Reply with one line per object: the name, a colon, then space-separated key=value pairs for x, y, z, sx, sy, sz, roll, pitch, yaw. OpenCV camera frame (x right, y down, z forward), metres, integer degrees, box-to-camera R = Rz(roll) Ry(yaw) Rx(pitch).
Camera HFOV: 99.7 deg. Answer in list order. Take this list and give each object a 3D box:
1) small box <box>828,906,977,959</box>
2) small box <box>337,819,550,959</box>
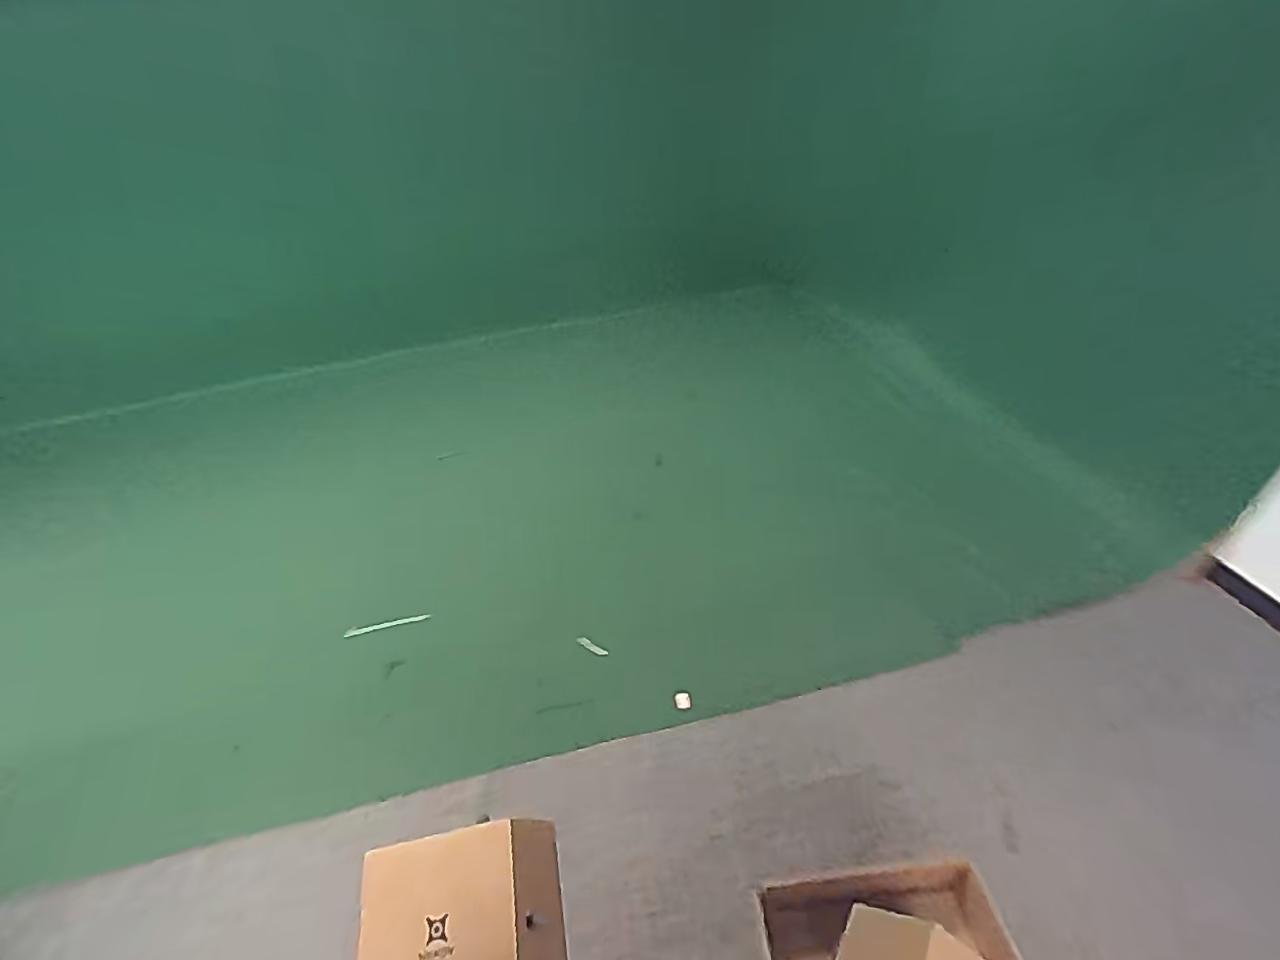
small box: x=0.272 y=0.551 z=0.507 sx=0.168 sy=0.176 sz=0.179 roll=33 pitch=59 yaw=12
small box: x=-0.202 y=0.488 z=0.587 sx=0.168 sy=0.176 sz=0.179 roll=-14 pitch=57 yaw=-1
